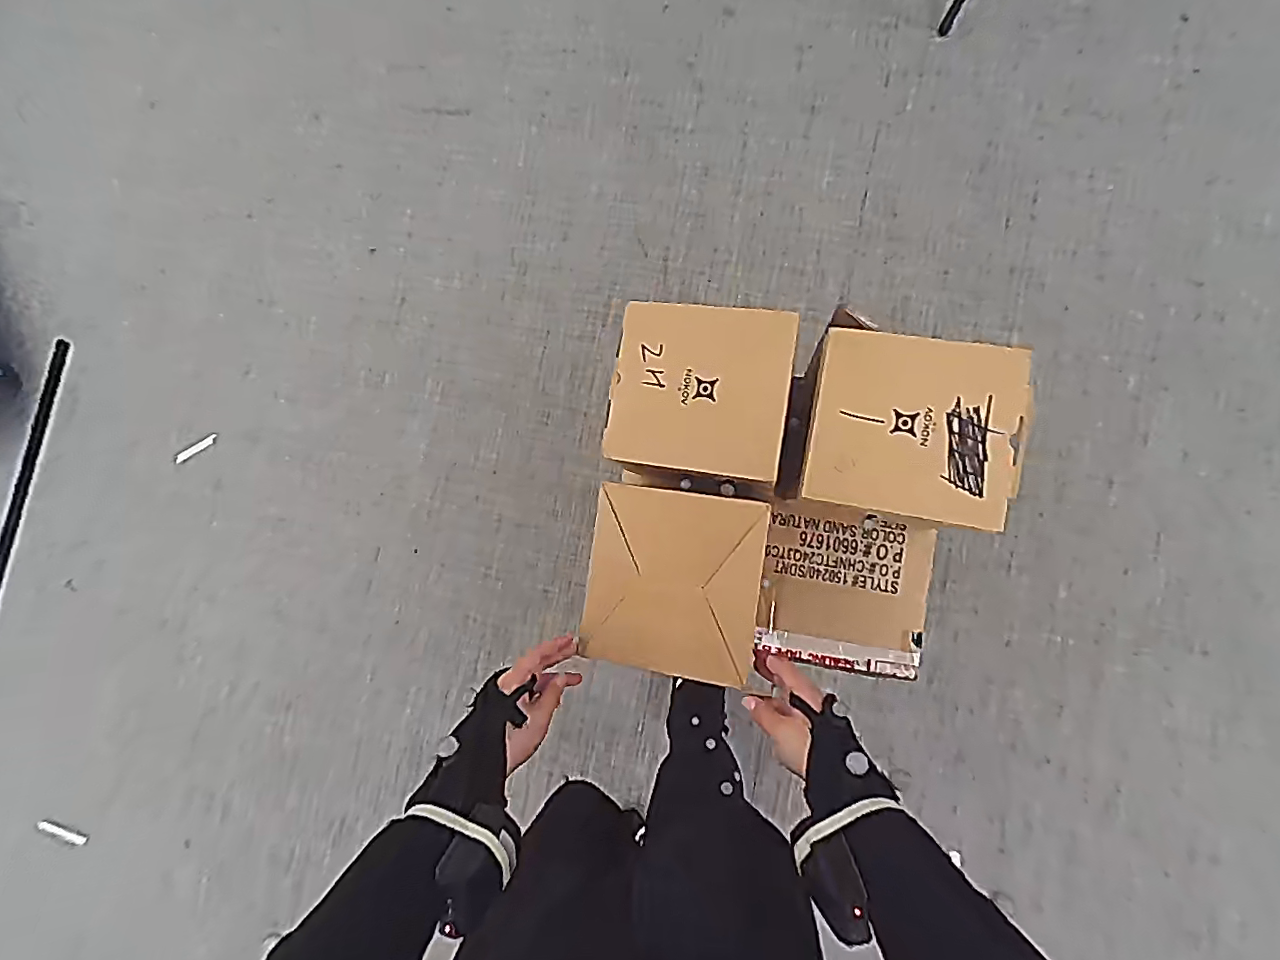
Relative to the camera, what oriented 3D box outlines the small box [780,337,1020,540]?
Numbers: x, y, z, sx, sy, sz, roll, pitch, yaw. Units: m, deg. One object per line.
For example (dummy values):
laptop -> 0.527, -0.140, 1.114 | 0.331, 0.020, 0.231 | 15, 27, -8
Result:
small box -> 0.257, -0.037, 0.576 | 0.179, 0.176, 0.168 | 10, 88, 10
